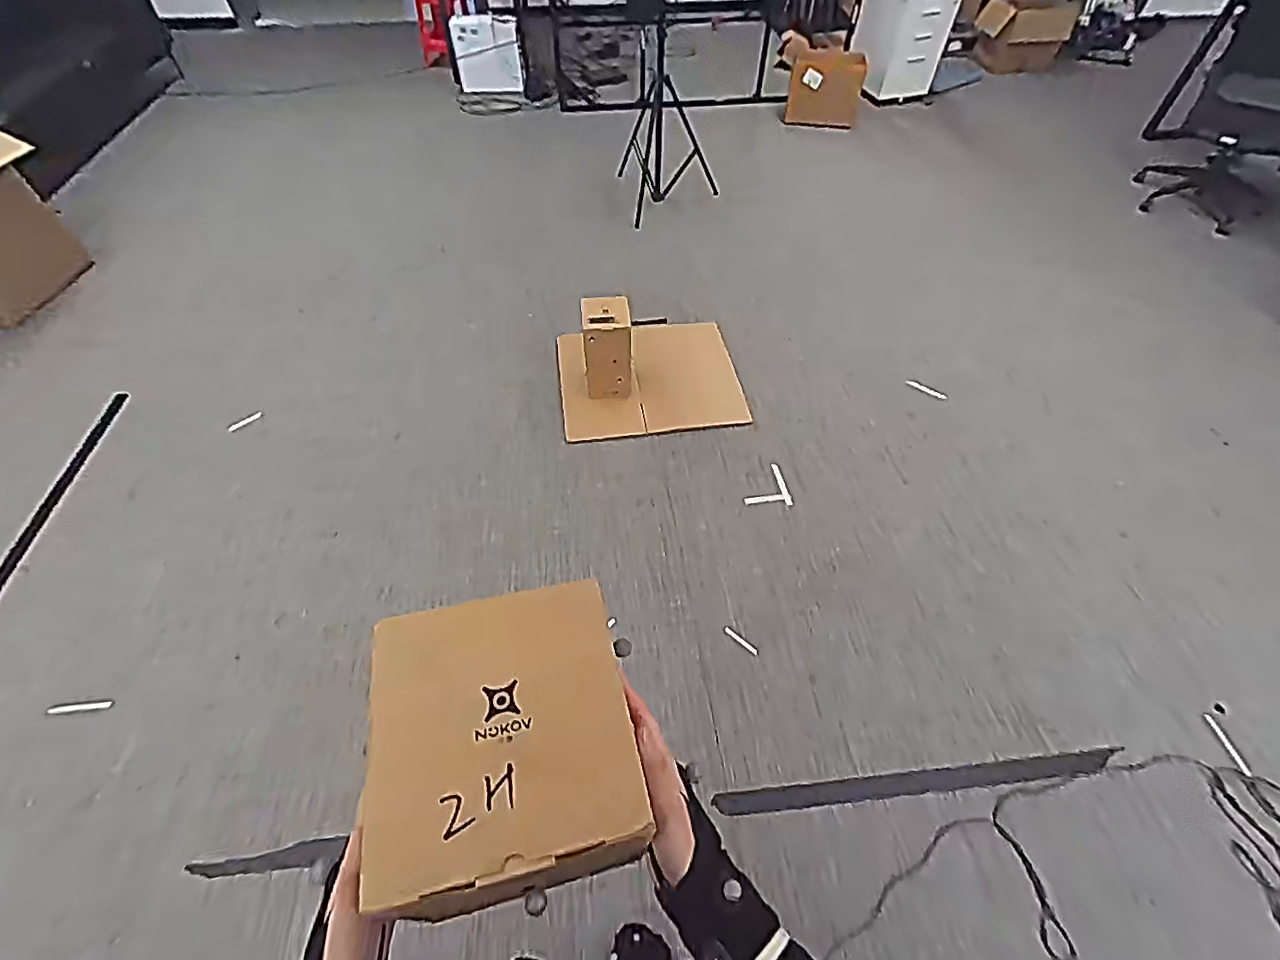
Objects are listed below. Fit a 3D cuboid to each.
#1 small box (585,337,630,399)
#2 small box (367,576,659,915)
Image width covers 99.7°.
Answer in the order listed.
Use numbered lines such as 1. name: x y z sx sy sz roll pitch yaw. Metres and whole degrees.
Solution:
1. small box: -0.124 -0.422 2.069 0.168 0.176 0.179 -3 52 -4
2. small box: -0.092 0.203 0.417 0.168 0.176 0.179 -10 51 -11
